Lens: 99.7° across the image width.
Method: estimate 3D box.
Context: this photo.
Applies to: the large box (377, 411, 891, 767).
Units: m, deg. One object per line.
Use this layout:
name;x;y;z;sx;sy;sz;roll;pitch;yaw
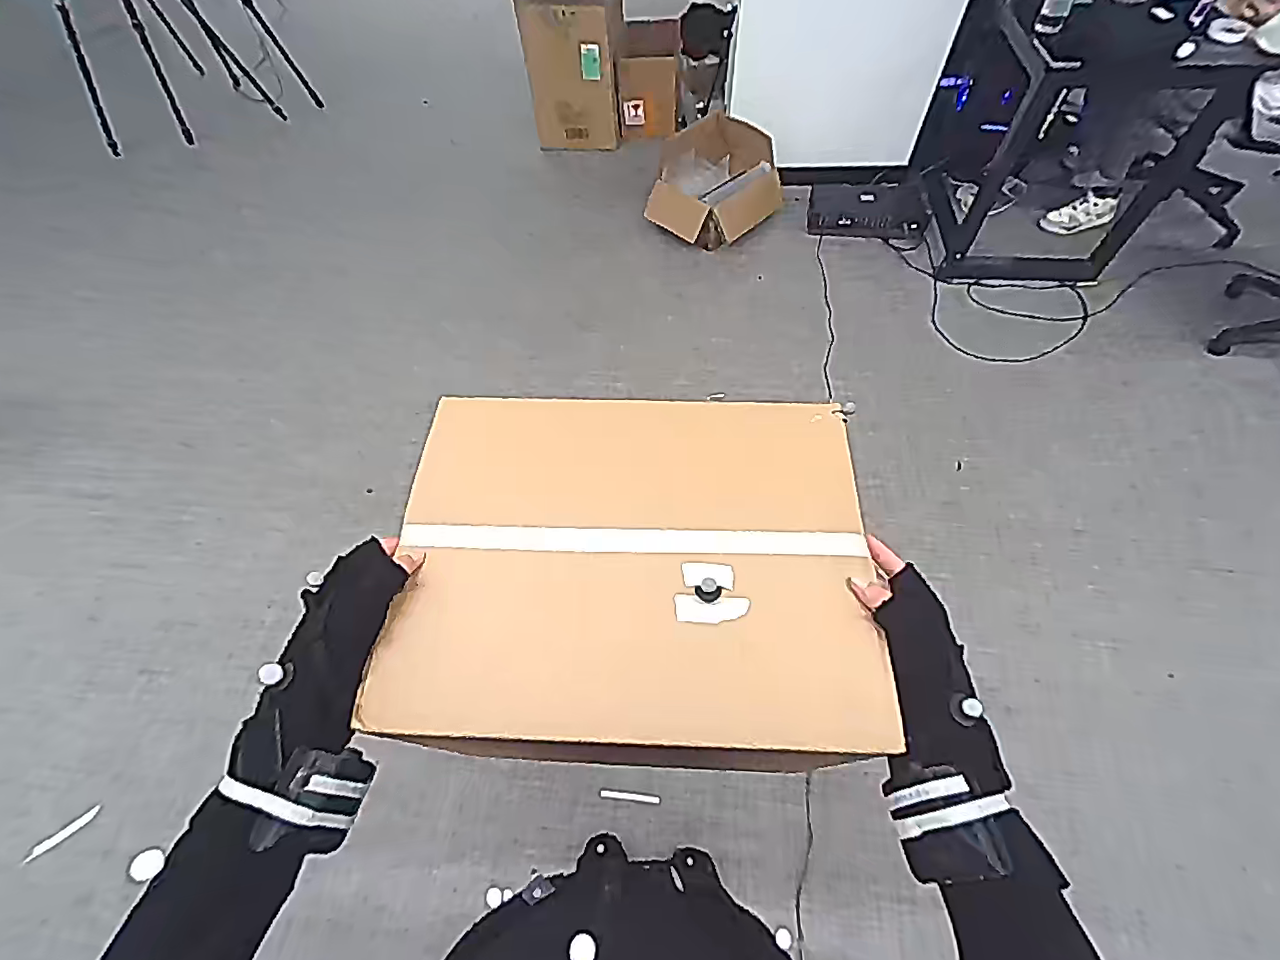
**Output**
large box;-0.001;0.137;0.614;0.408;0.320;0.320;1;59;2
